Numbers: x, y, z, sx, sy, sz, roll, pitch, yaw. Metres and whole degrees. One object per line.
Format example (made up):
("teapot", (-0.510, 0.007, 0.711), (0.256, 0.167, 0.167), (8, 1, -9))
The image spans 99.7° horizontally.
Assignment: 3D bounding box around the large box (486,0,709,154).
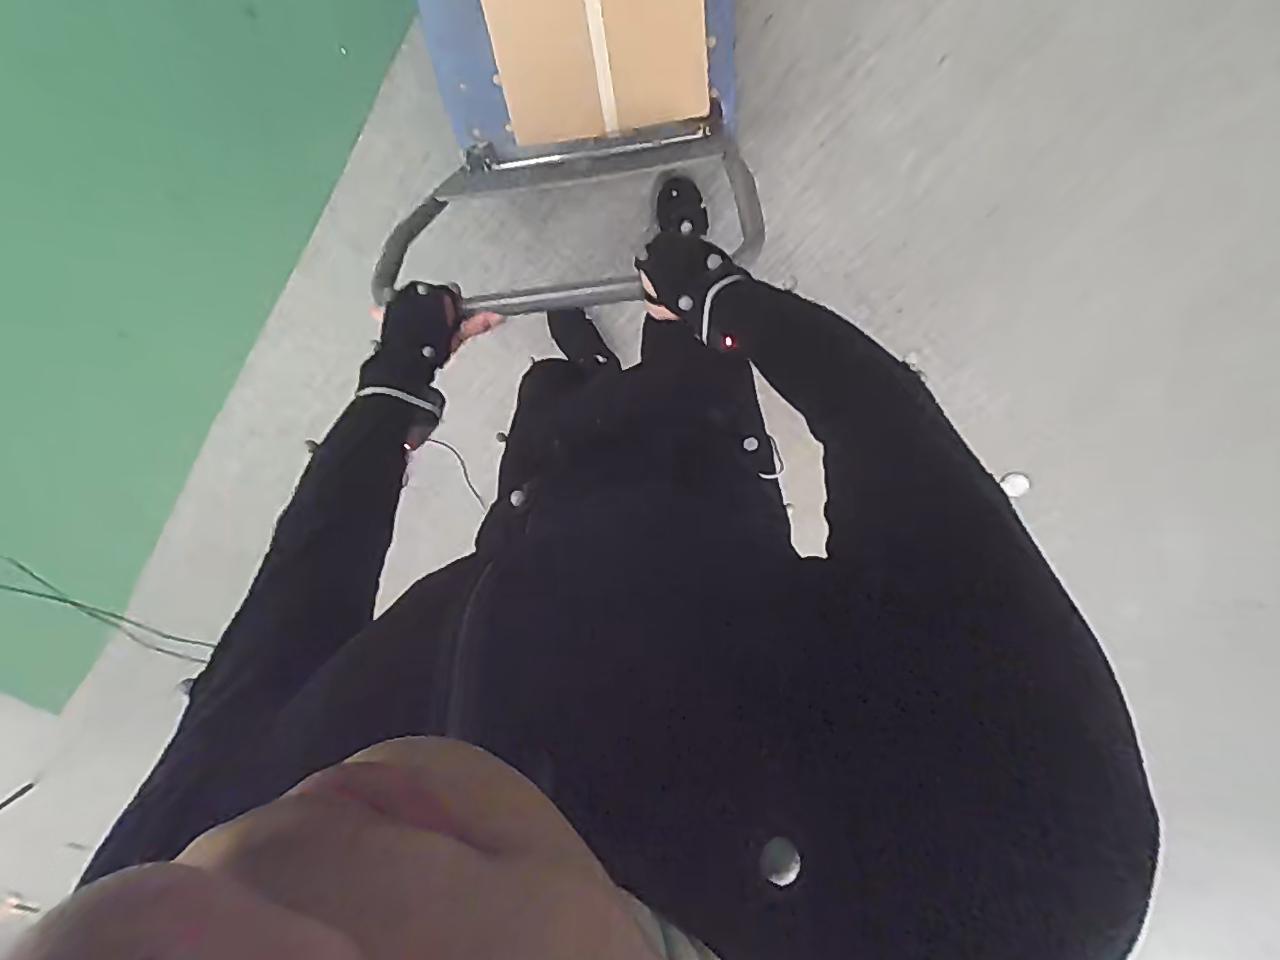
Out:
("large box", (-0.064, -0.801, 0.876), (0.320, 0.320, 0.408), (-5, 128, 6))
